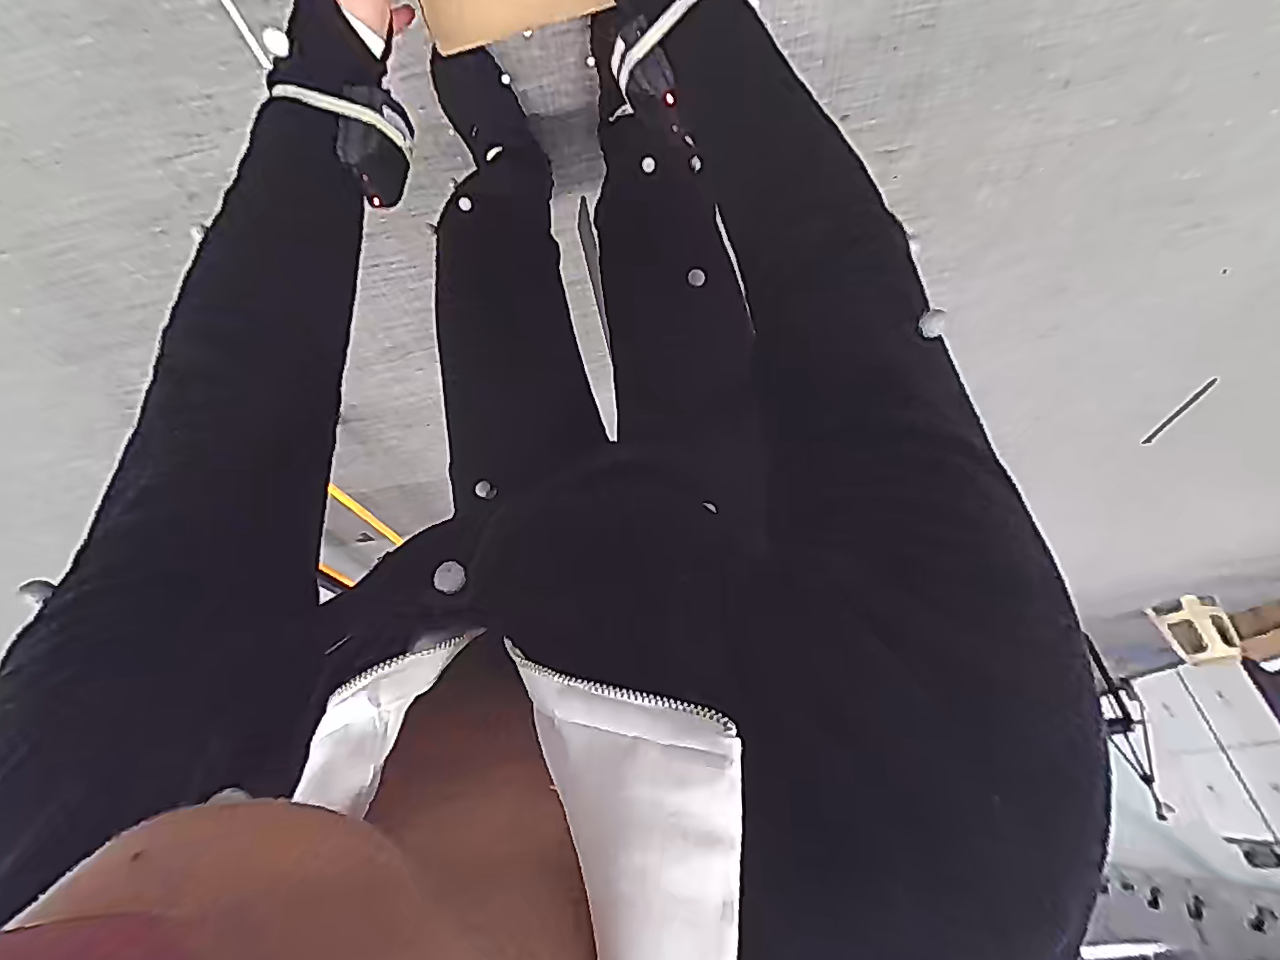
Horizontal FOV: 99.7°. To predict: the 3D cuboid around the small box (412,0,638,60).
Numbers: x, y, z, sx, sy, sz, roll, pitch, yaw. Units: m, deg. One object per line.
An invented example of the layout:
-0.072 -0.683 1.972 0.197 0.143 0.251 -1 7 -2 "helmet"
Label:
-0.109 -0.473 0.424 0.179 0.176 0.168 -13 145 3 "small box"
